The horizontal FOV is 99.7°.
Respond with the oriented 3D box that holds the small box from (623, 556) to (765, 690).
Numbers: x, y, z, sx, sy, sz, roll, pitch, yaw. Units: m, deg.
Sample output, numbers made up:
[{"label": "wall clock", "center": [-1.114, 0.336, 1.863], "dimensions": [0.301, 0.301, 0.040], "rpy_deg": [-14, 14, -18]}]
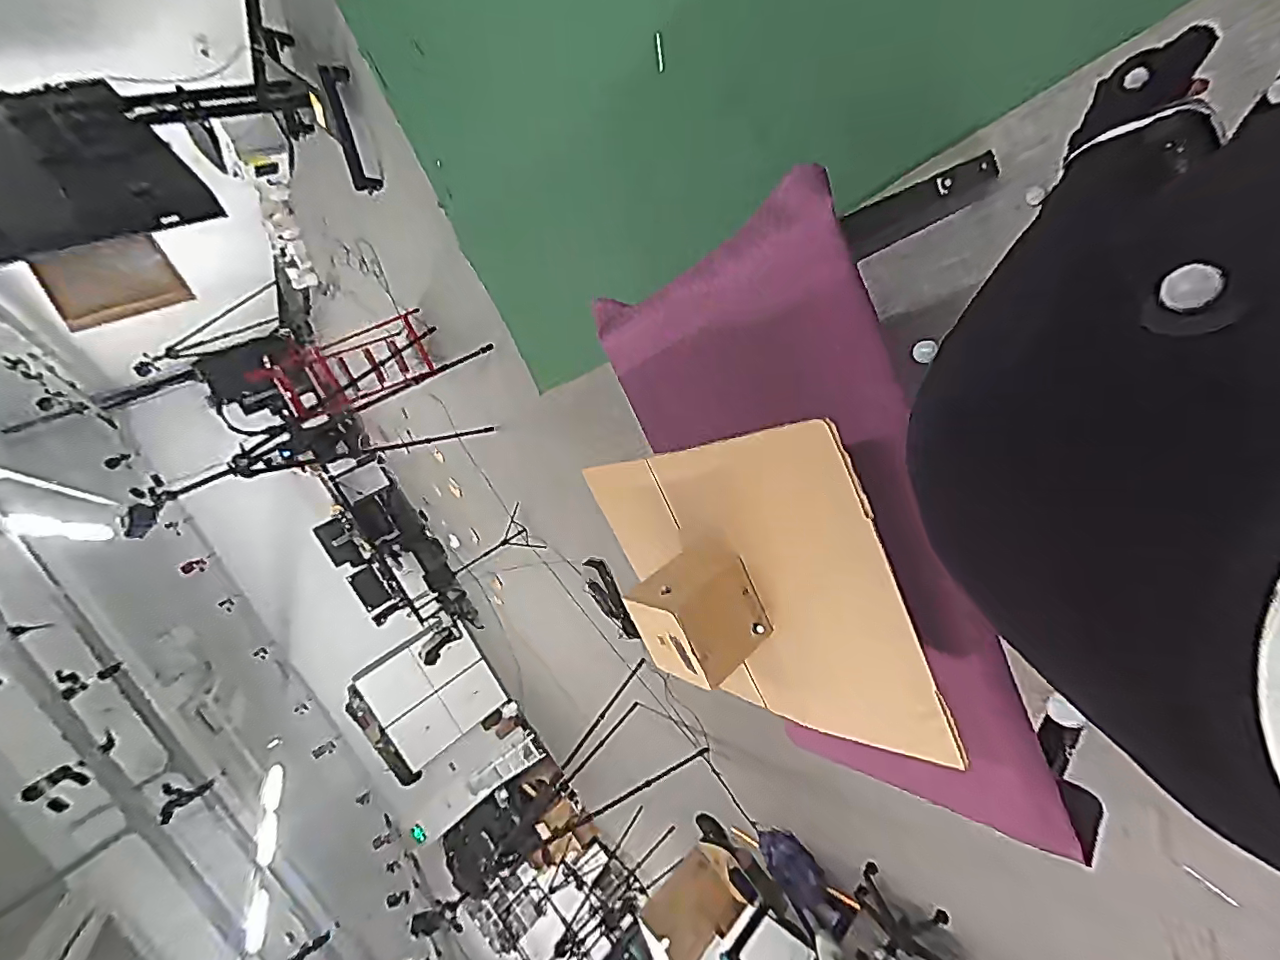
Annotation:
[{"label": "small box", "center": [0.107, 0.252, 1.000], "dimensions": [0.179, 0.176, 0.168], "rpy_deg": [-12, 109, 57]}]
